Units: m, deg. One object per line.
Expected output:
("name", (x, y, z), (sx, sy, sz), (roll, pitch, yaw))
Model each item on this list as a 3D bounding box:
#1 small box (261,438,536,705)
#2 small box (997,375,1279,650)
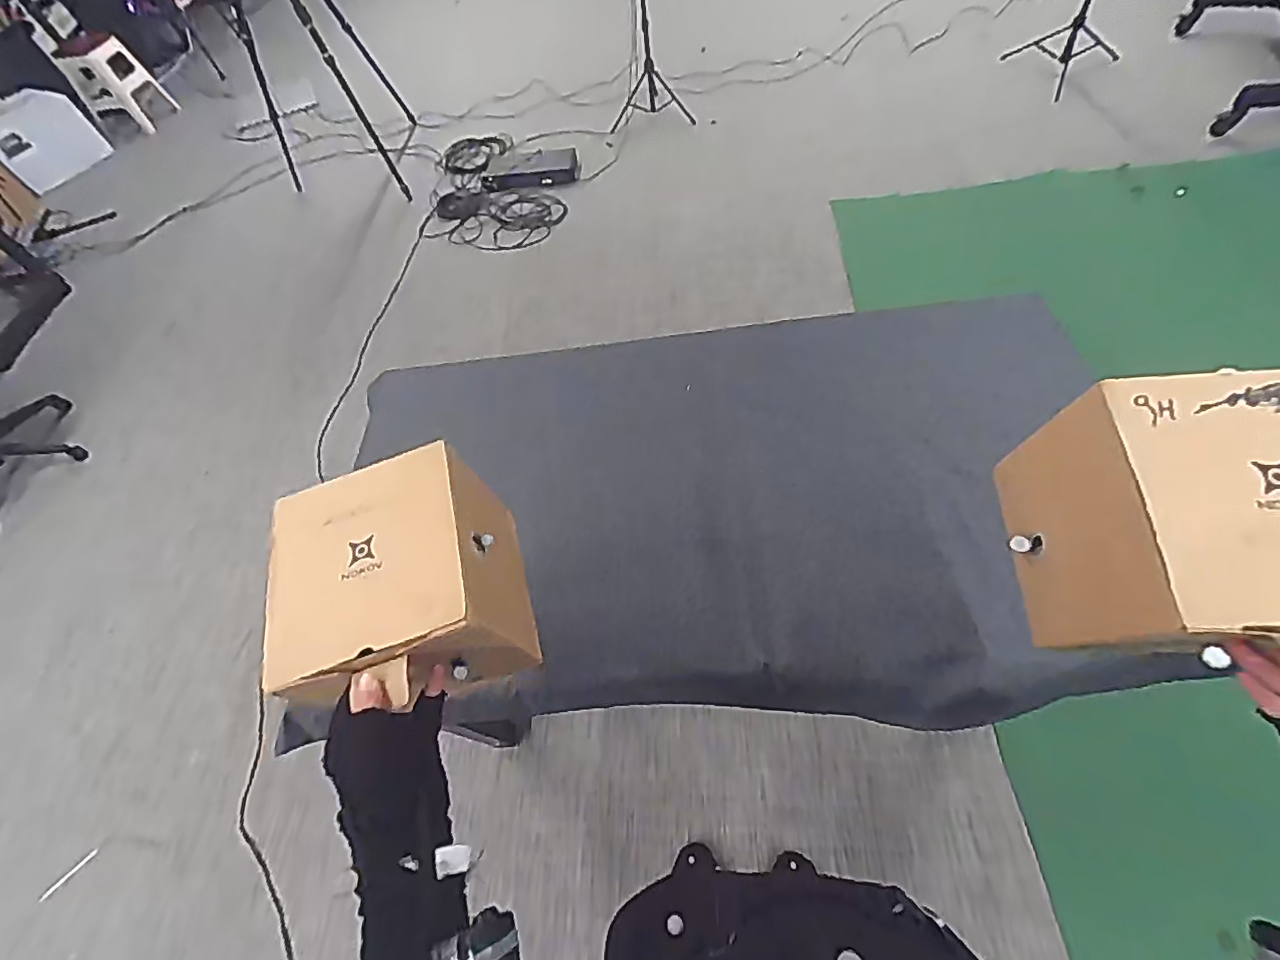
("small box", (-0.211, 0.097, 0.506), (0.168, 0.176, 0.179), (-20, 59, -1))
("small box", (0.414, 0.038, 0.417), (0.168, 0.176, 0.179), (-2, 70, 7))
